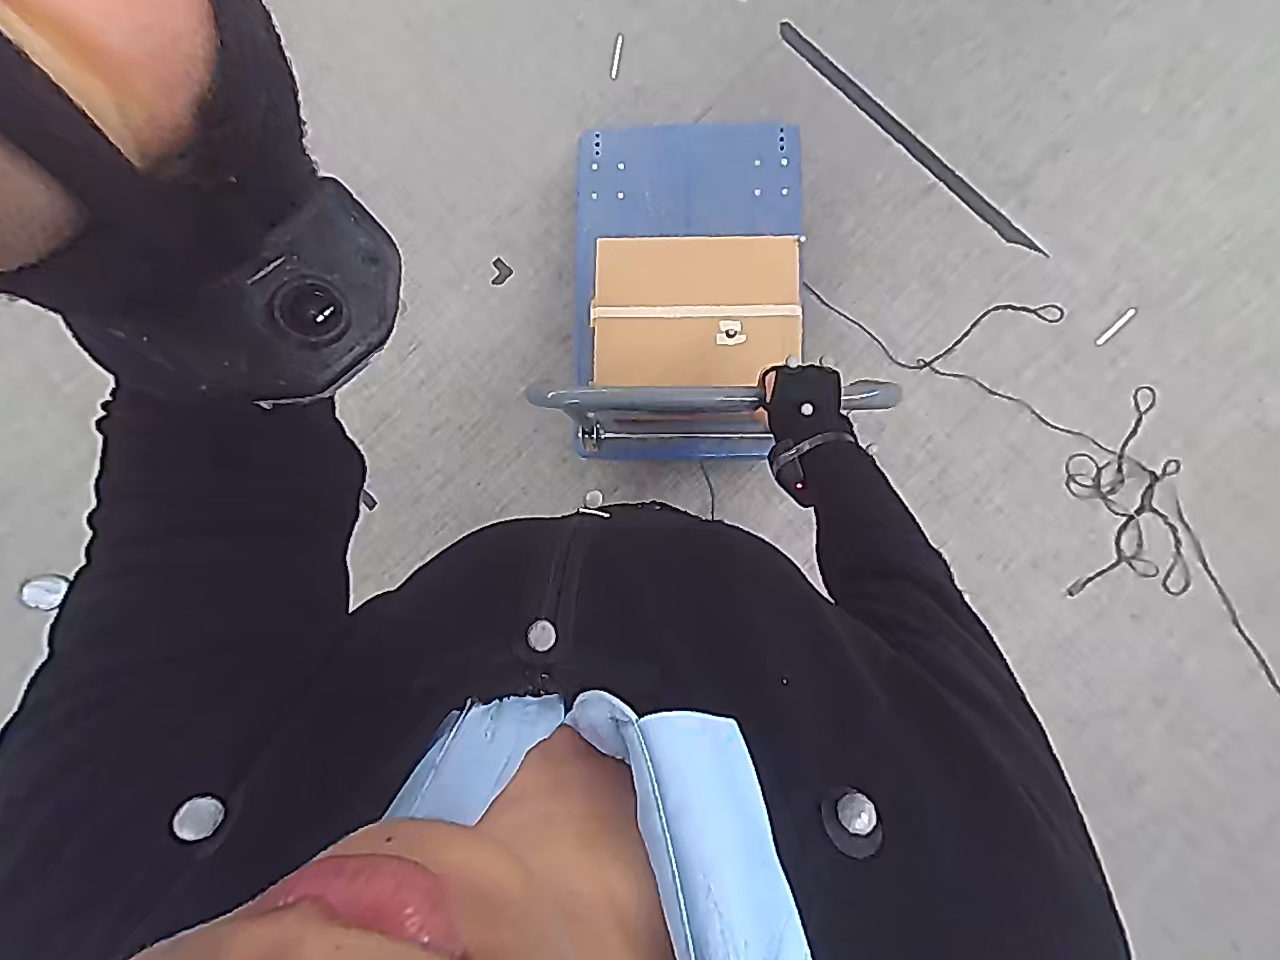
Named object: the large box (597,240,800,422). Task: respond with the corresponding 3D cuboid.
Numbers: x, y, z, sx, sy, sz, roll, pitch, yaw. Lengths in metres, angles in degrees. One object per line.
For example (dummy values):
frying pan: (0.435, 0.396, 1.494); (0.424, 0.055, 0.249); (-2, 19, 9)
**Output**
large box: (0.116, -0.313, 1.220); (0.408, 0.320, 0.320); (0, 86, 2)
